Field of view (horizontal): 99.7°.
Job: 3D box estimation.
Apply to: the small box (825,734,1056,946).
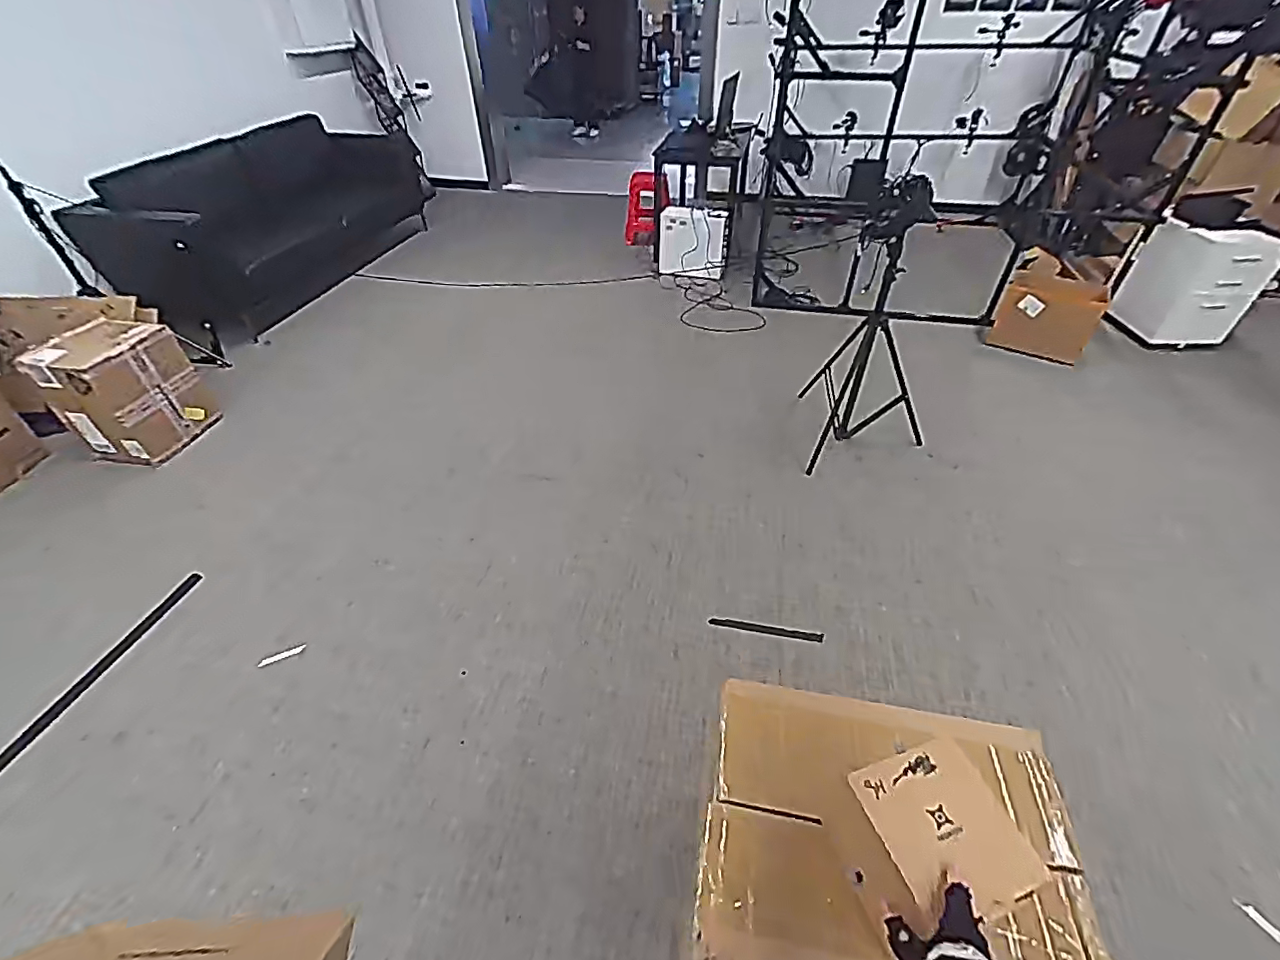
[{"bbox_3d":[0.370,0.471,0.705,0.168,0.176,0.179,-13,45,-12],"label":"small box"}]
